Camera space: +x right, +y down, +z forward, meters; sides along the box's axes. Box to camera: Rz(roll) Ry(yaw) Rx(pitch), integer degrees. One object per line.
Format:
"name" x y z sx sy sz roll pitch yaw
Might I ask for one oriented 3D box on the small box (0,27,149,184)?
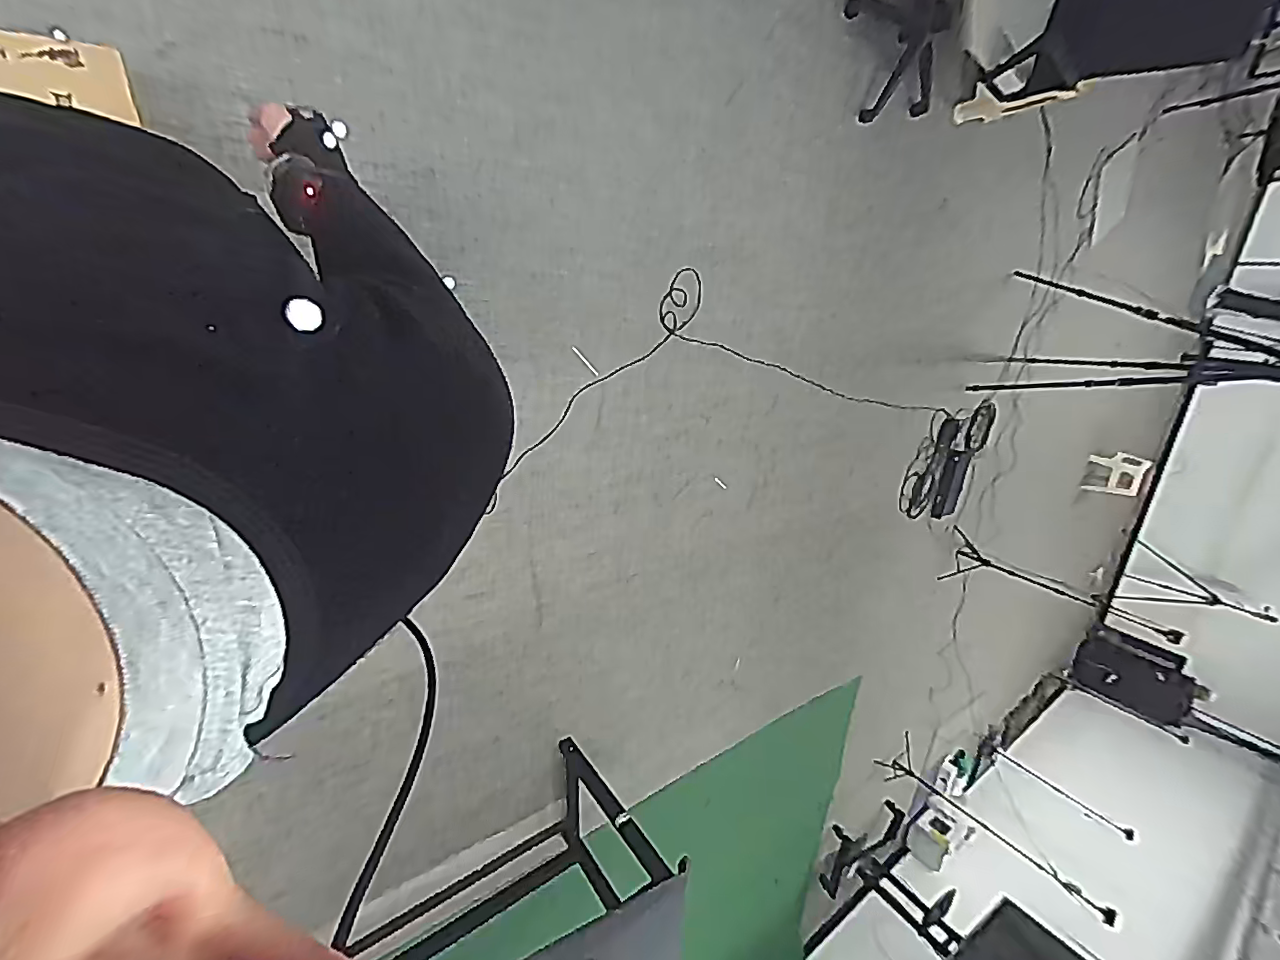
"small box" -0.900 -0.569 0.840 0.168 0.176 0.179 -16 118 -33
